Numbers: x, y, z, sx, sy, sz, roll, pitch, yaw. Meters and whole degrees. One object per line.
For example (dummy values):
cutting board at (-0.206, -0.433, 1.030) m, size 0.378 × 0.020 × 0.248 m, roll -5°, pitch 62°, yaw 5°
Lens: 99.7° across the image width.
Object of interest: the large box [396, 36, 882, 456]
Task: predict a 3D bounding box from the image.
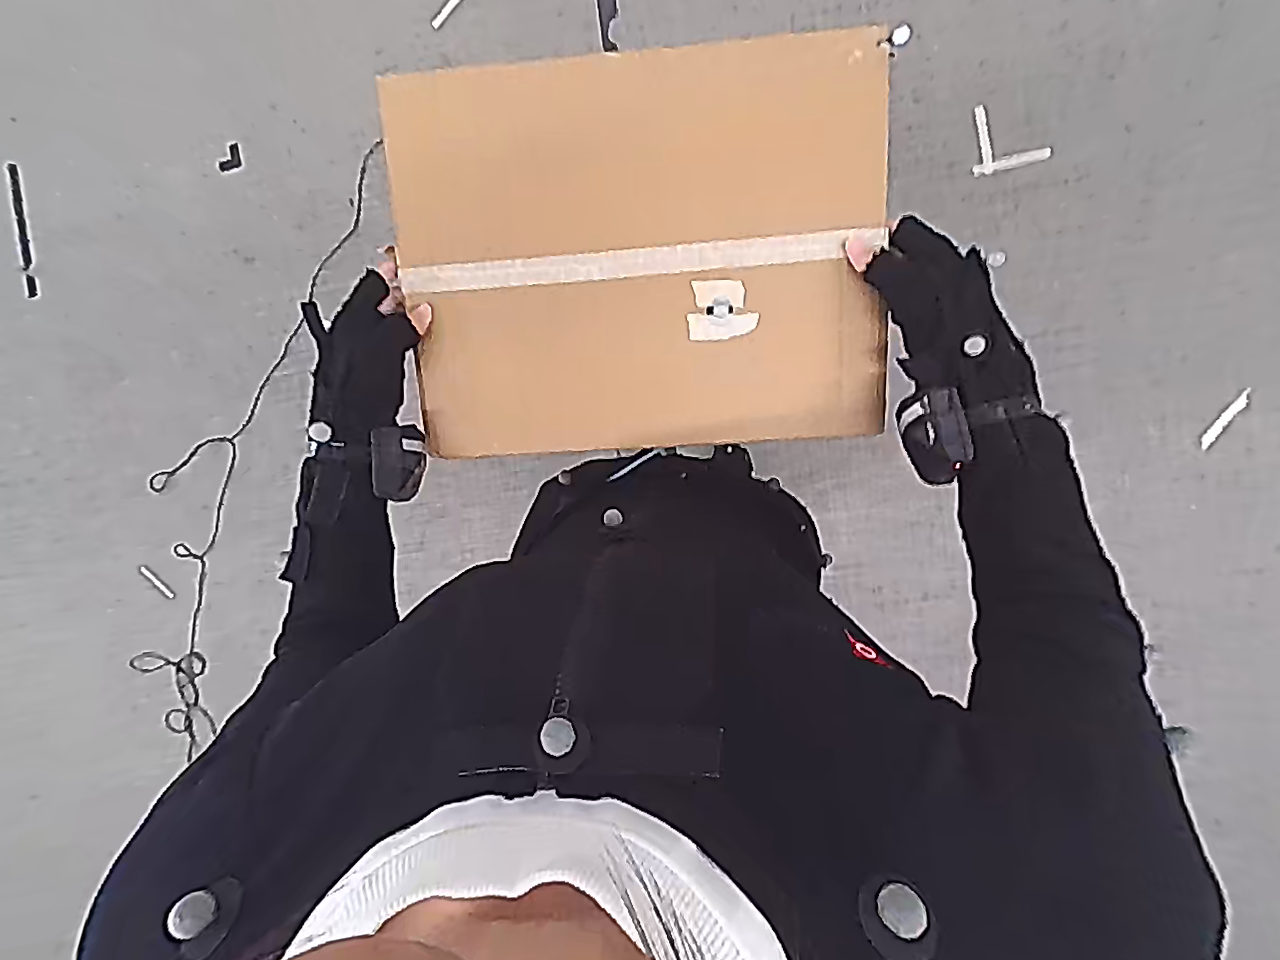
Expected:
large box at (0.009, -0.213, 0.610) m, size 0.408 × 0.320 × 0.320 m, roll -4°, pitch 101°, yaw 3°
